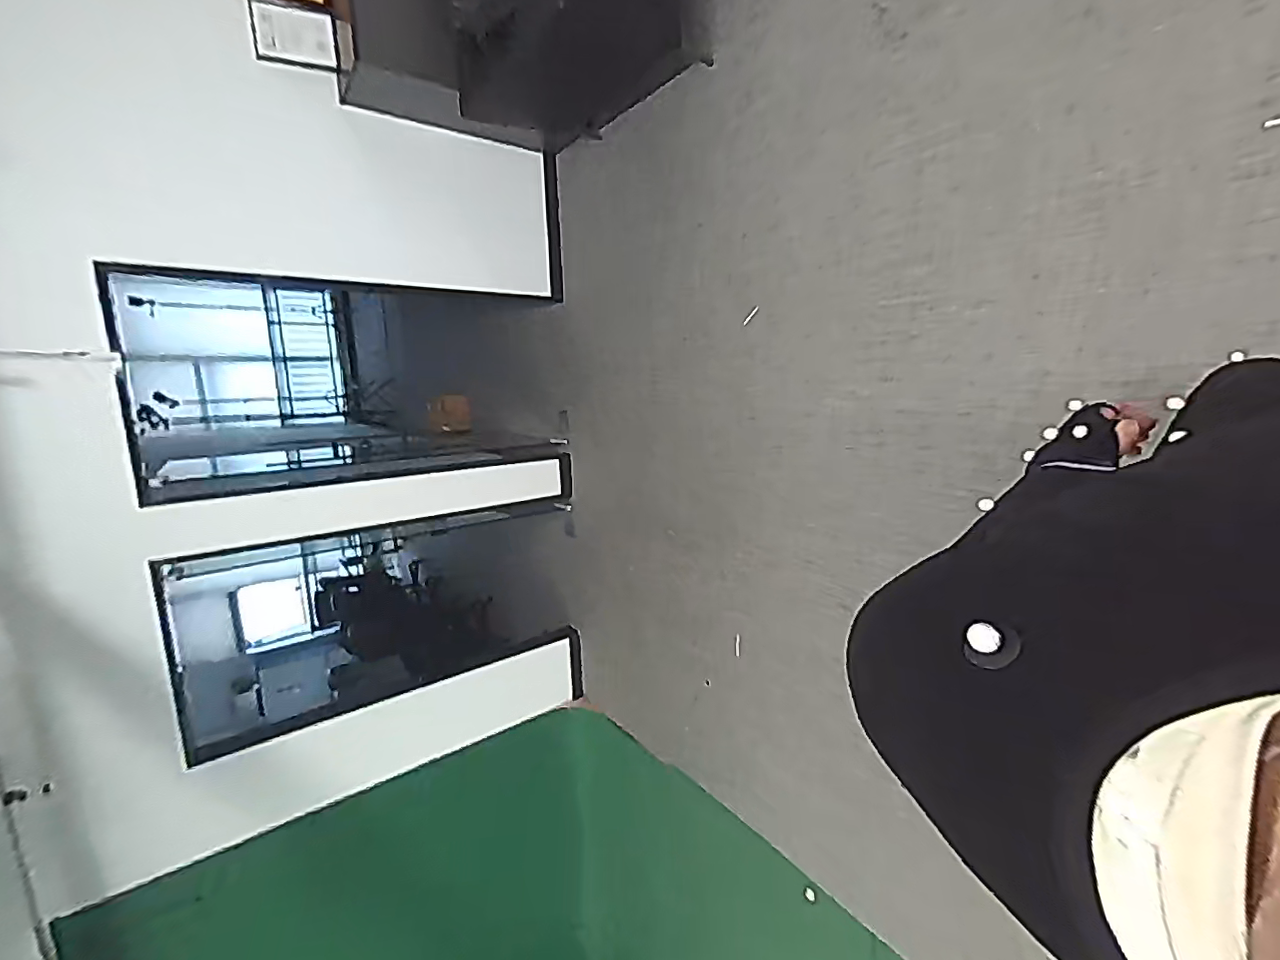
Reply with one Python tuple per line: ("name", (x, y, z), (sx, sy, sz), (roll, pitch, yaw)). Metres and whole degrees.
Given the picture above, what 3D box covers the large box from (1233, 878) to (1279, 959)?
("large box", (1.366, 1.051, 0.966), (0.408, 0.320, 0.320), (10, 104, 54))
